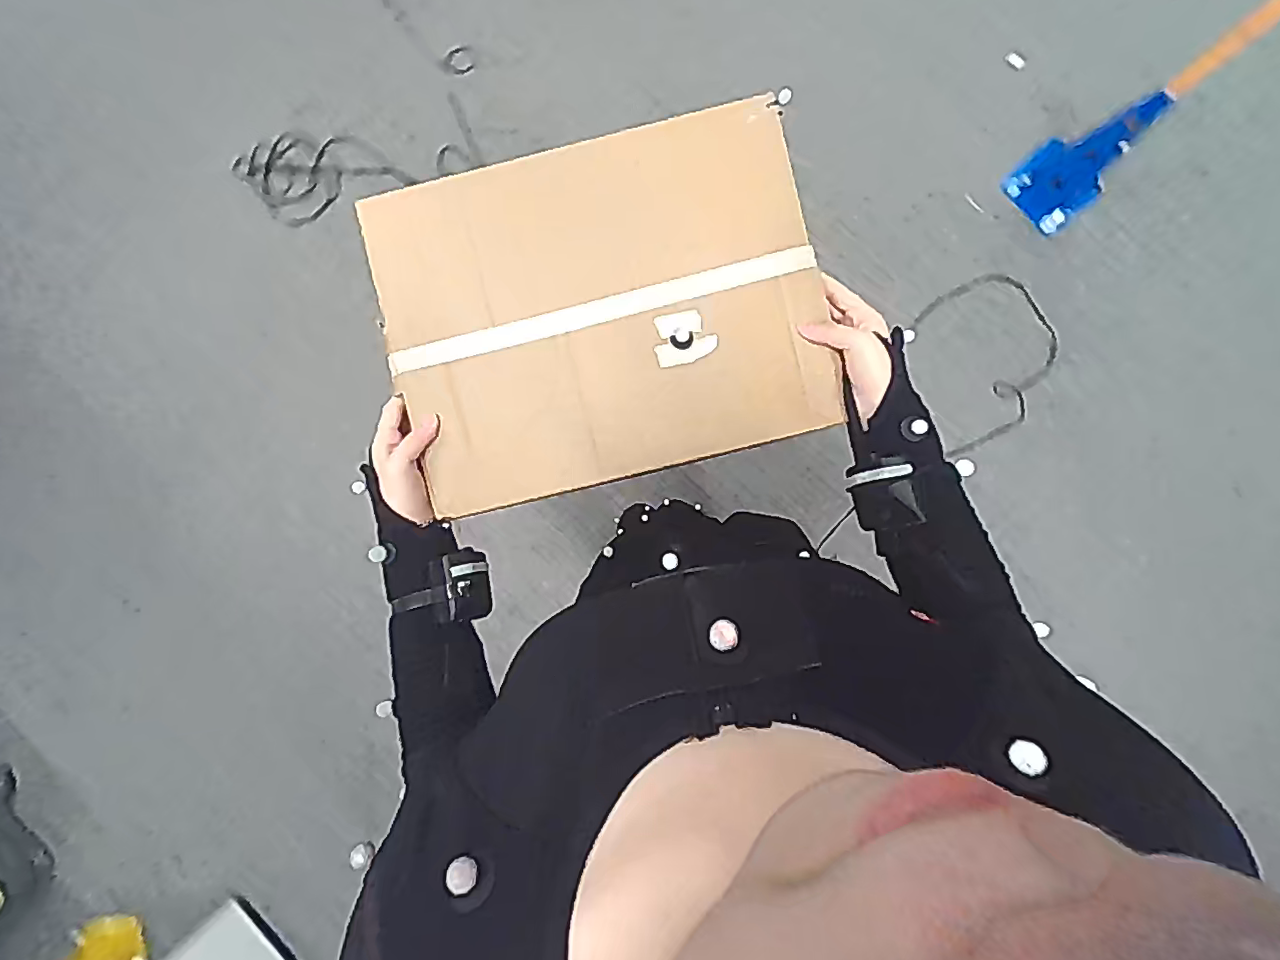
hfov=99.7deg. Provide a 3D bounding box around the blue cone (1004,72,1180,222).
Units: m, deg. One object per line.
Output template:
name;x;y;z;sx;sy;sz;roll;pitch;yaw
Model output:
blue cone;1.095;-0.813;1.297;0.192;0.380;0.193;-40;87;2

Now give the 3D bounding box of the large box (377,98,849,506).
large box;-0.026;-0.169;0.661;0.408;0.320;0.320;-13;91;0
